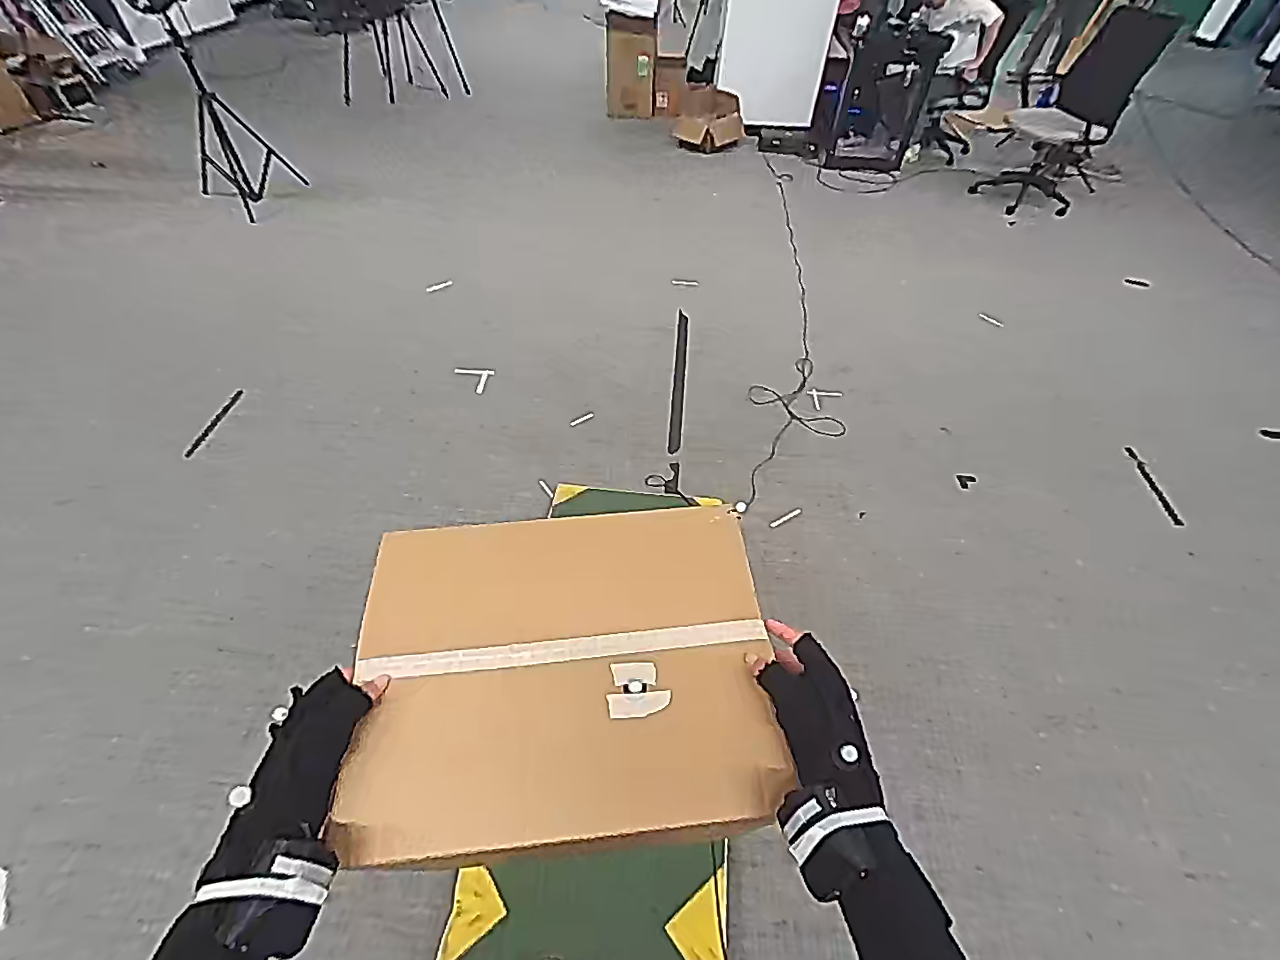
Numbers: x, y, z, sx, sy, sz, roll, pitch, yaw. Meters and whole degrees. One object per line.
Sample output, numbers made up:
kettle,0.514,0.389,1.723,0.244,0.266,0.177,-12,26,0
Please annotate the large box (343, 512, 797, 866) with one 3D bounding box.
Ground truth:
large box,-0.074,0.264,0.673,0.408,0.320,0.320,-4,54,-4
